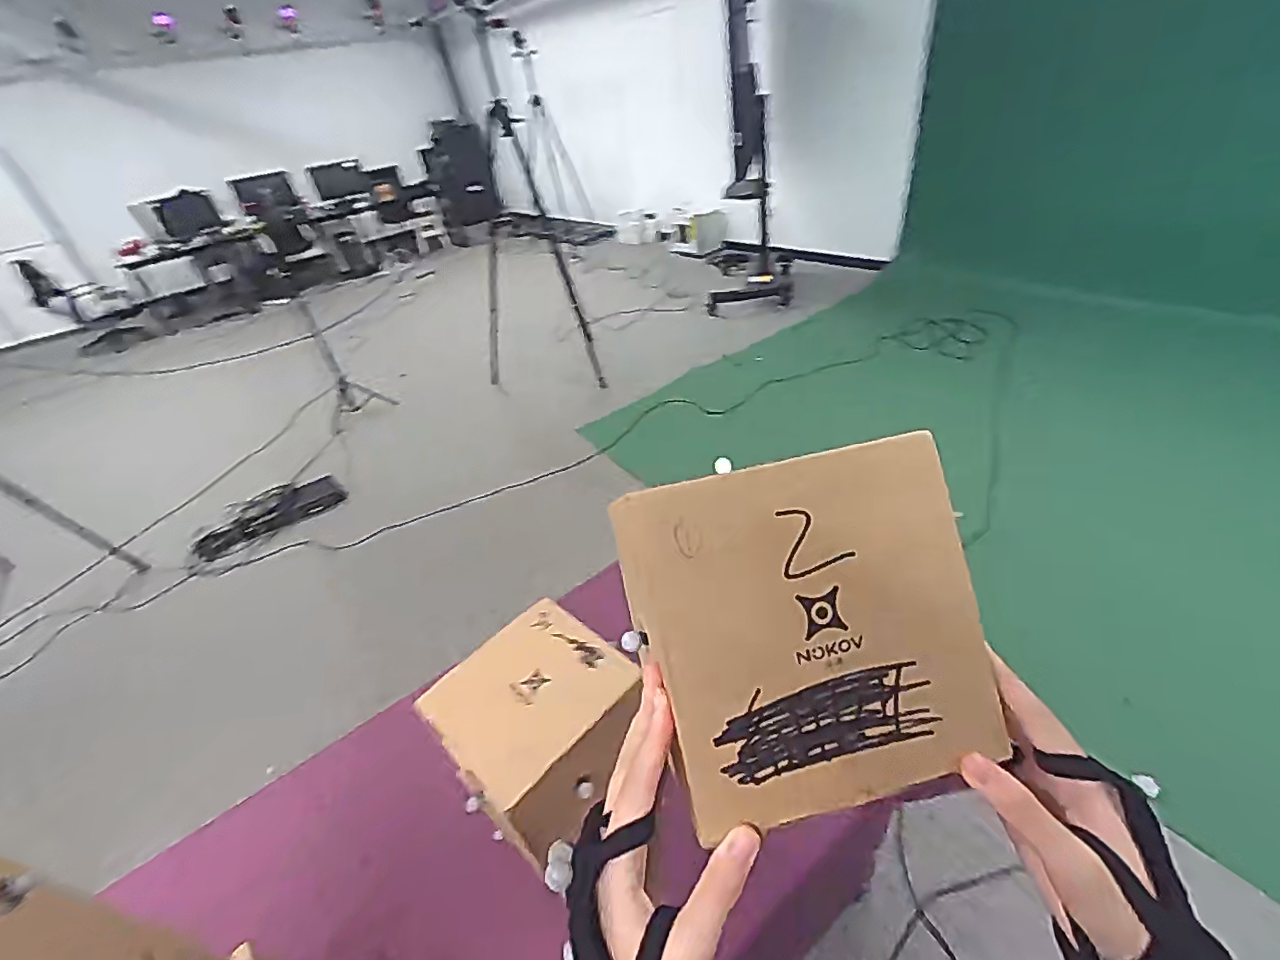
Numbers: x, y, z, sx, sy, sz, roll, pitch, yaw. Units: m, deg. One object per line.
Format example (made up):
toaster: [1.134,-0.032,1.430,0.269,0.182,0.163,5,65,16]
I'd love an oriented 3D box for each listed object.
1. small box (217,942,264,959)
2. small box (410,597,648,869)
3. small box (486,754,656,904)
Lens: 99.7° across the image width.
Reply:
small box: [-0.390,0.599,0.503,0.168,0.176,0.179,-35,42,-31]
small box: [-0.108,0.271,0.592,0.168,0.176,0.179,26,50,38]
small box: [-0.100,0.396,0.701,0.179,0.176,0.168,21,47,35]
